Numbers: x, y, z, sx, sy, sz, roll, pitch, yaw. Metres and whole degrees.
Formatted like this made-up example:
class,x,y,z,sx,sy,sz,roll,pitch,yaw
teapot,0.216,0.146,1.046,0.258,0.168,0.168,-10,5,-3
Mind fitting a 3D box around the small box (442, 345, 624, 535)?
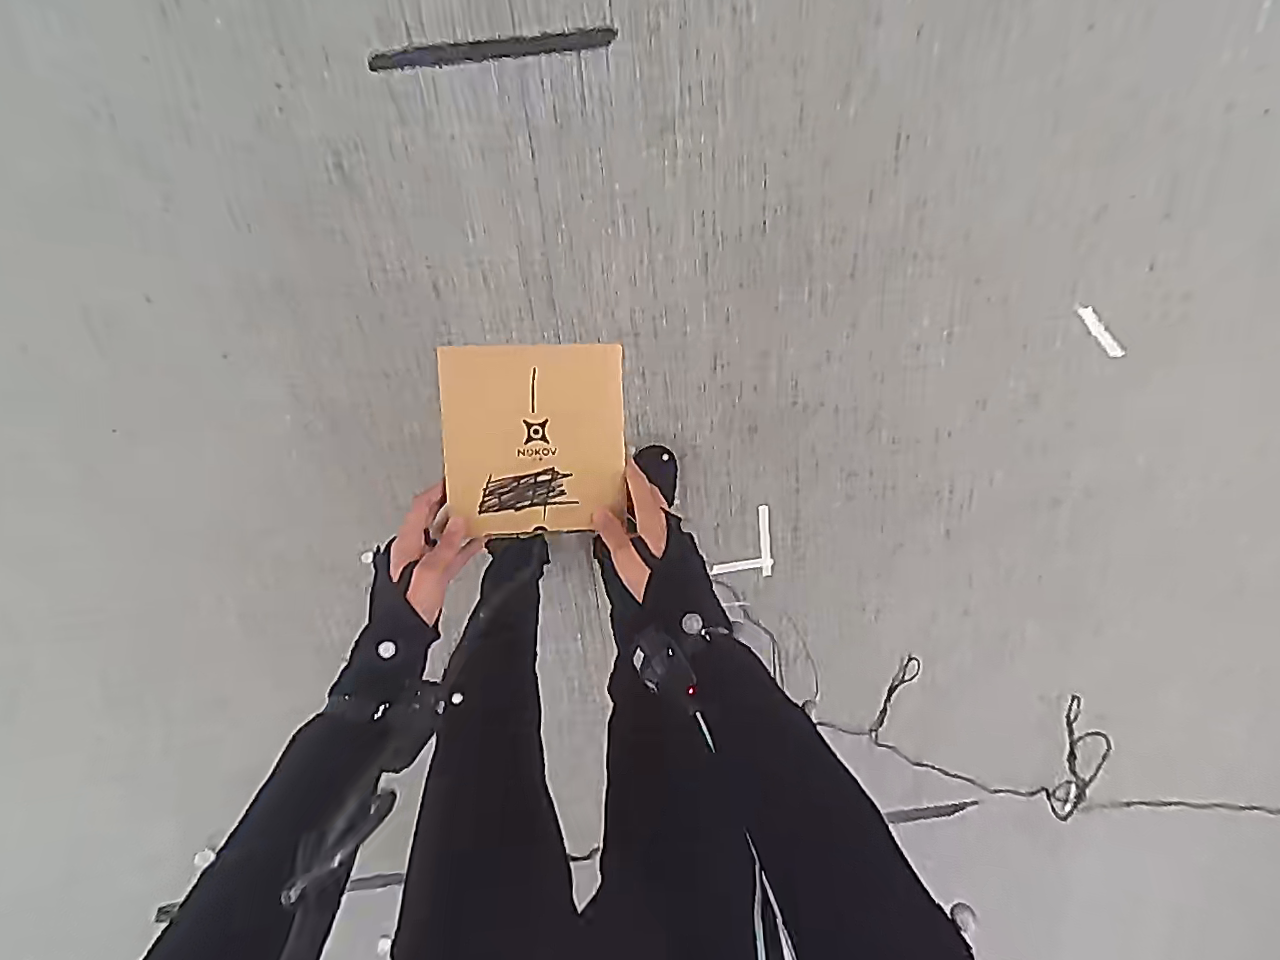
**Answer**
class,x,y,z,sx,sy,sz,roll,pitch,yaw
small box,-0.104,-0.045,0.580,0.168,0.176,0.179,-2,95,-6
